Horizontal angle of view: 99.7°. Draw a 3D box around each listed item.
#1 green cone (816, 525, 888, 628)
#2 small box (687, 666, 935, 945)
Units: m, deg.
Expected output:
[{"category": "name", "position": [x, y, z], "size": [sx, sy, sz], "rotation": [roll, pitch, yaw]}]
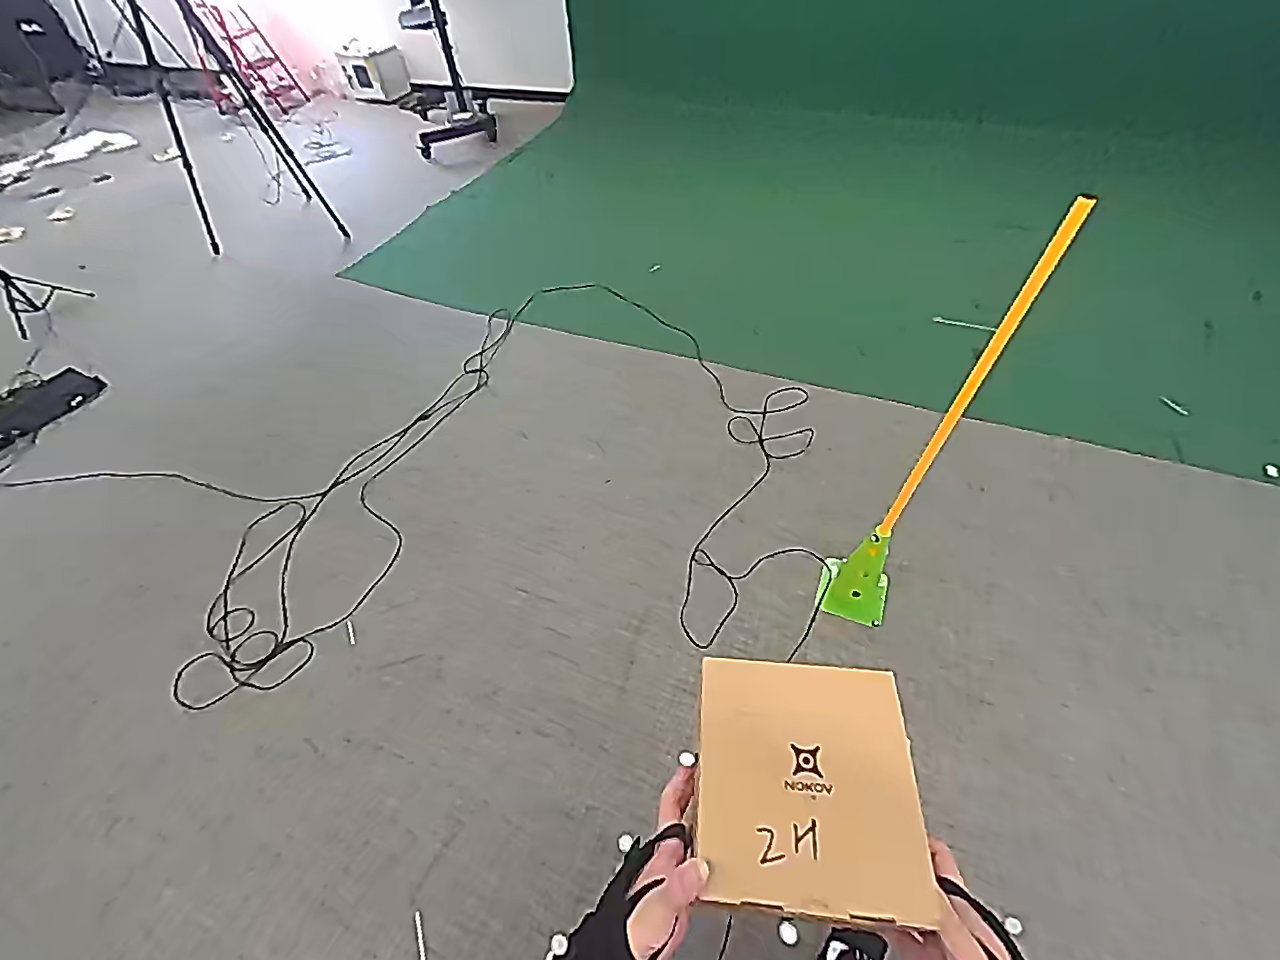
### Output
[{"category": "green cone", "position": [0.668, 0.251, 1.597], "size": [0.202, 0.368, 0.200], "rotation": [16, 53, 18]}, {"category": "small box", "position": [0.132, 0.292, 0.486], "size": [0.168, 0.176, 0.179], "rotation": [4, 50, 6]}]
